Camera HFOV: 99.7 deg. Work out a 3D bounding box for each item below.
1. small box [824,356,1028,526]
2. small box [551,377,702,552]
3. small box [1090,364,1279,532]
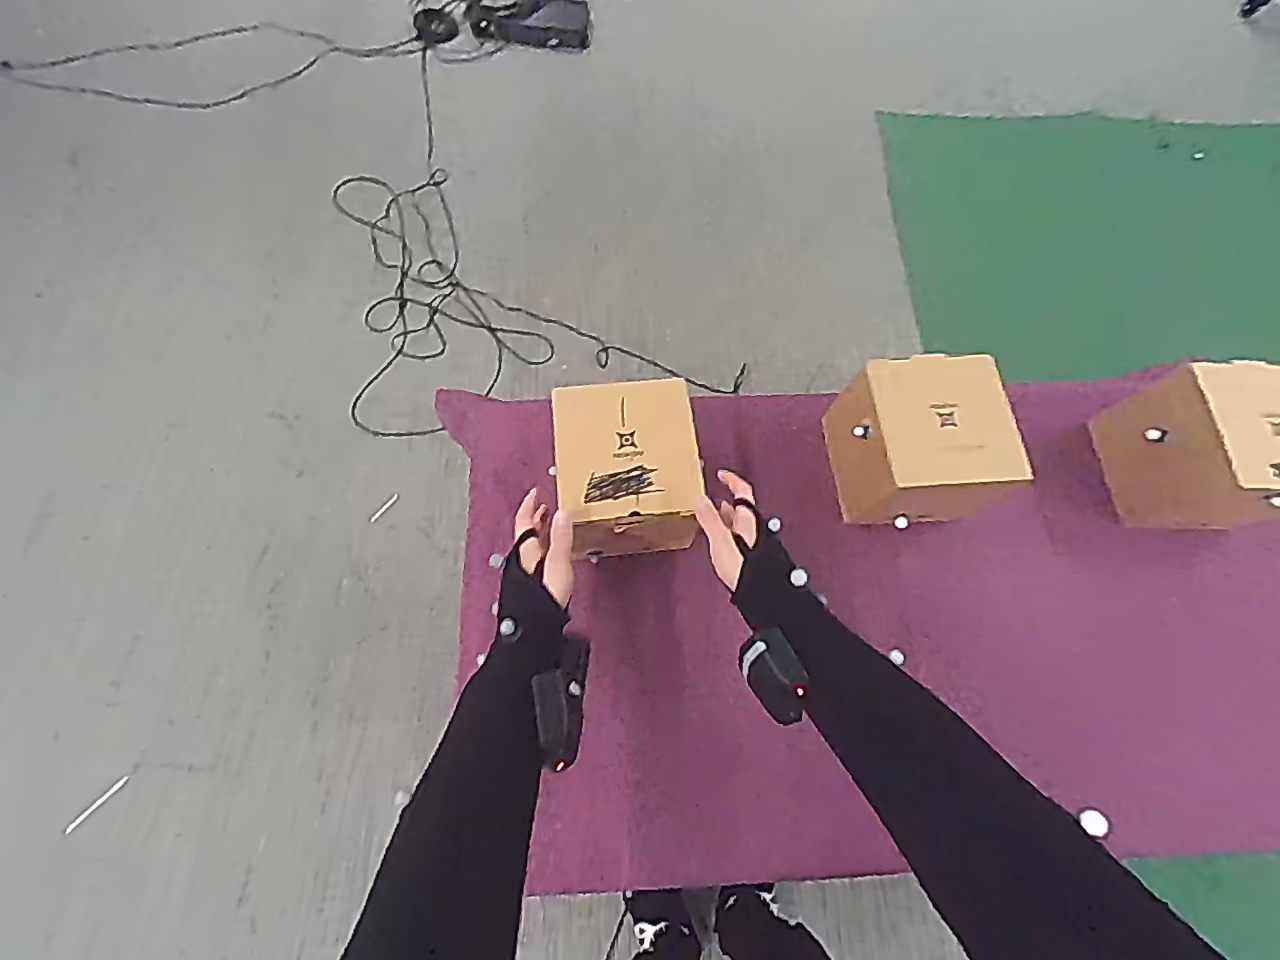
[{"bbox_3d":[0.365,-0.047,0.731,0.168,0.176,0.179,-2,69,-2],"label":"small box"},{"bbox_3d":[-0.021,-0.010,0.699,0.168,0.176,0.179,-5,68,-5],"label":"small box"},{"bbox_3d":[0.776,-0.038,0.741,0.168,0.176,0.179,1,68,-1],"label":"small box"}]
